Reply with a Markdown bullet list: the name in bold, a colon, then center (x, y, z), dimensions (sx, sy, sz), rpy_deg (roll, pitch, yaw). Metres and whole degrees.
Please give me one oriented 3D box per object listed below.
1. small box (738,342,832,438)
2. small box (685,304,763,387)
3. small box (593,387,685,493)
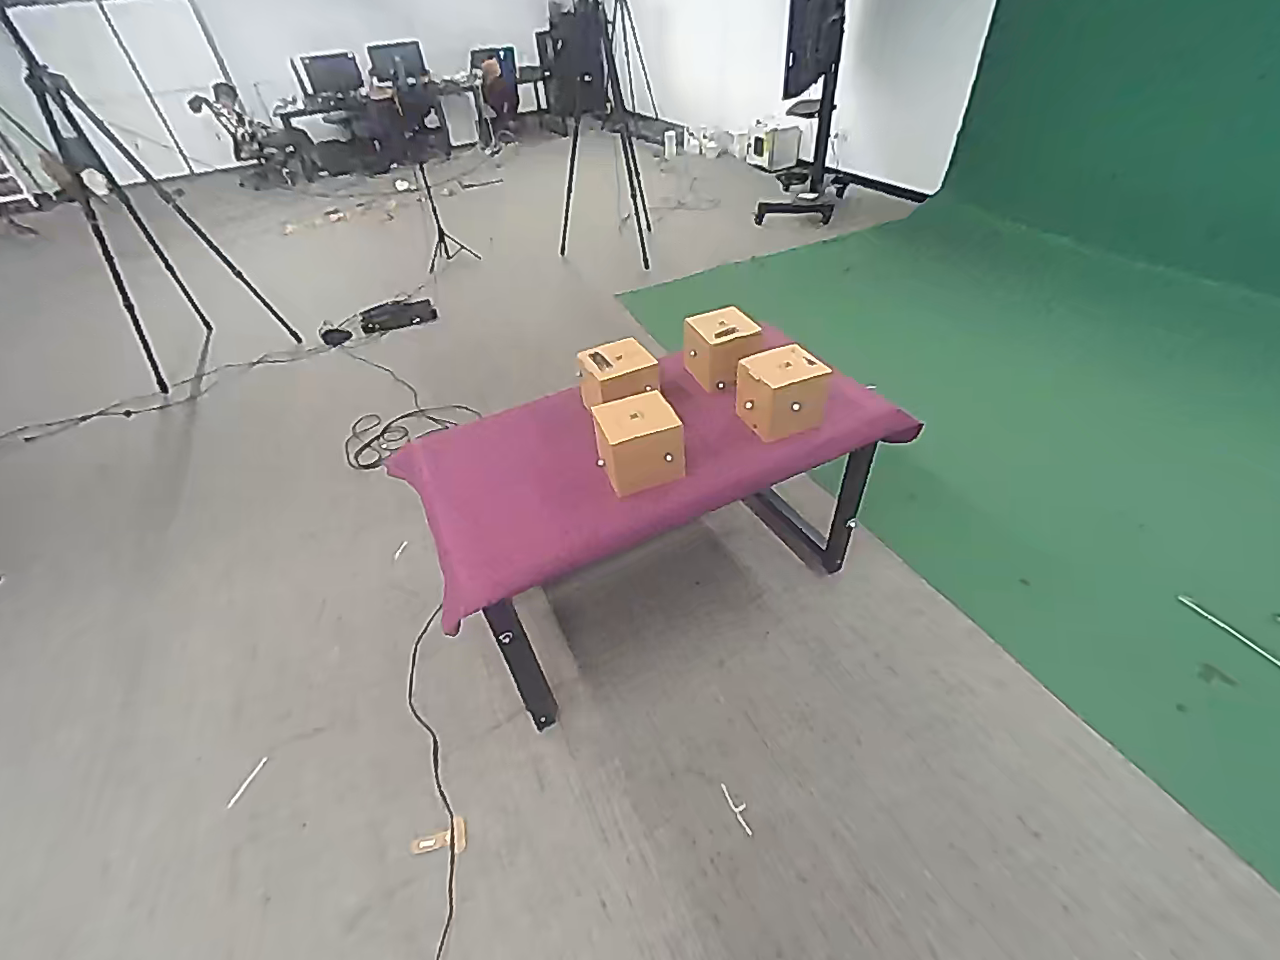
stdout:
- **small box**: center (0.371, -0.232, 1.411), dimensions (0.179, 0.176, 0.168), rpy_deg (-19, 44, -12)
- **small box**: center (0.245, -0.390, 1.593), dimensions (0.168, 0.176, 0.179), rpy_deg (-18, 44, -13)
- **small box**: center (-0.001, -0.096, 1.306), dimensions (0.179, 0.176, 0.168), rpy_deg (-17, 43, -11)
